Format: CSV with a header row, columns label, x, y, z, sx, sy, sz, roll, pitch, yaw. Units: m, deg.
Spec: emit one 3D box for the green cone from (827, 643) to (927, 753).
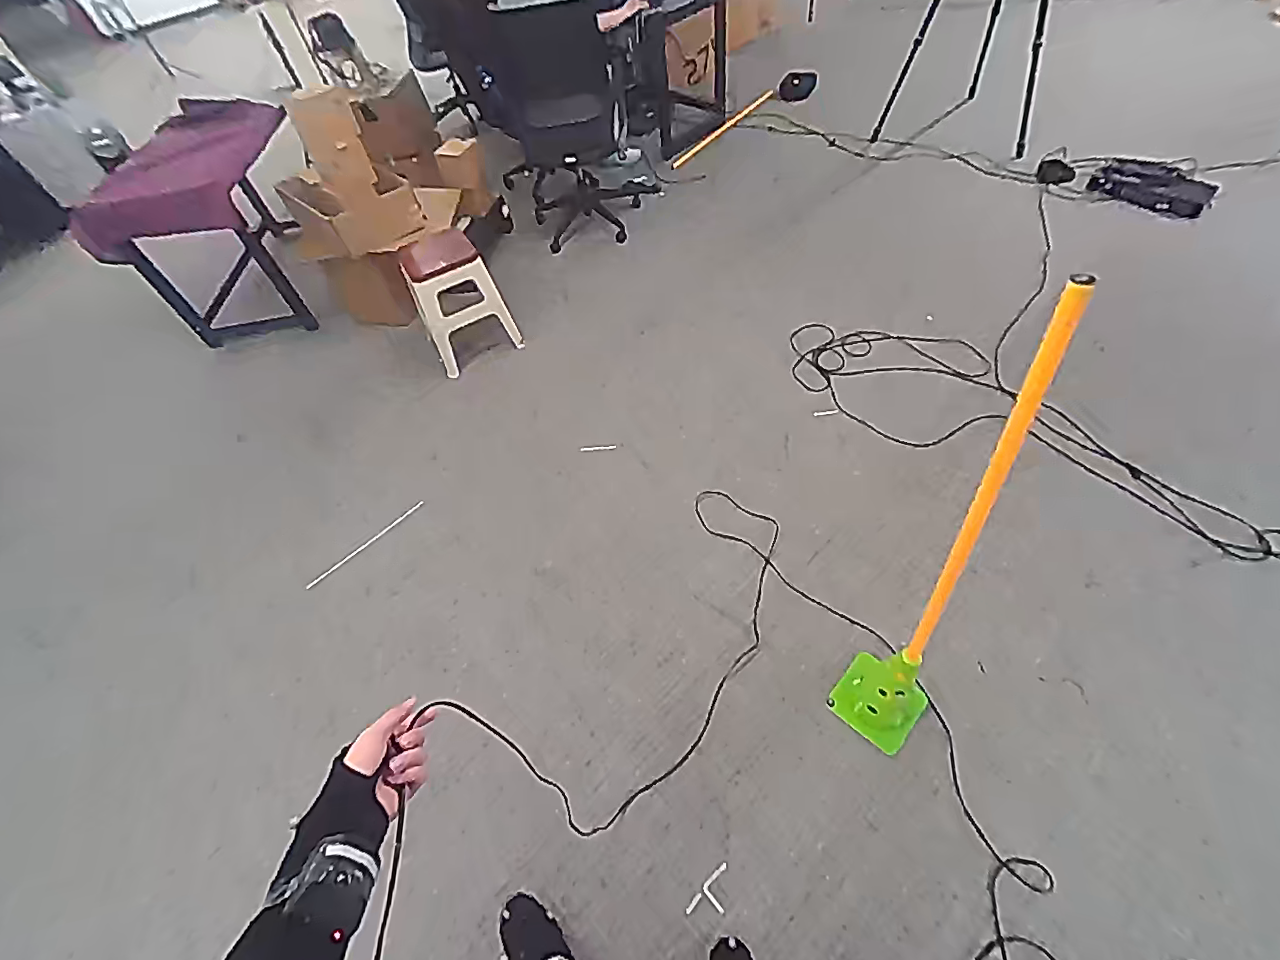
label,x,y,z,sx,sy,sz,roll,pitch,yaw
green cone,0.611,0.480,1.296,0.200,0.368,0.202,34,64,28
